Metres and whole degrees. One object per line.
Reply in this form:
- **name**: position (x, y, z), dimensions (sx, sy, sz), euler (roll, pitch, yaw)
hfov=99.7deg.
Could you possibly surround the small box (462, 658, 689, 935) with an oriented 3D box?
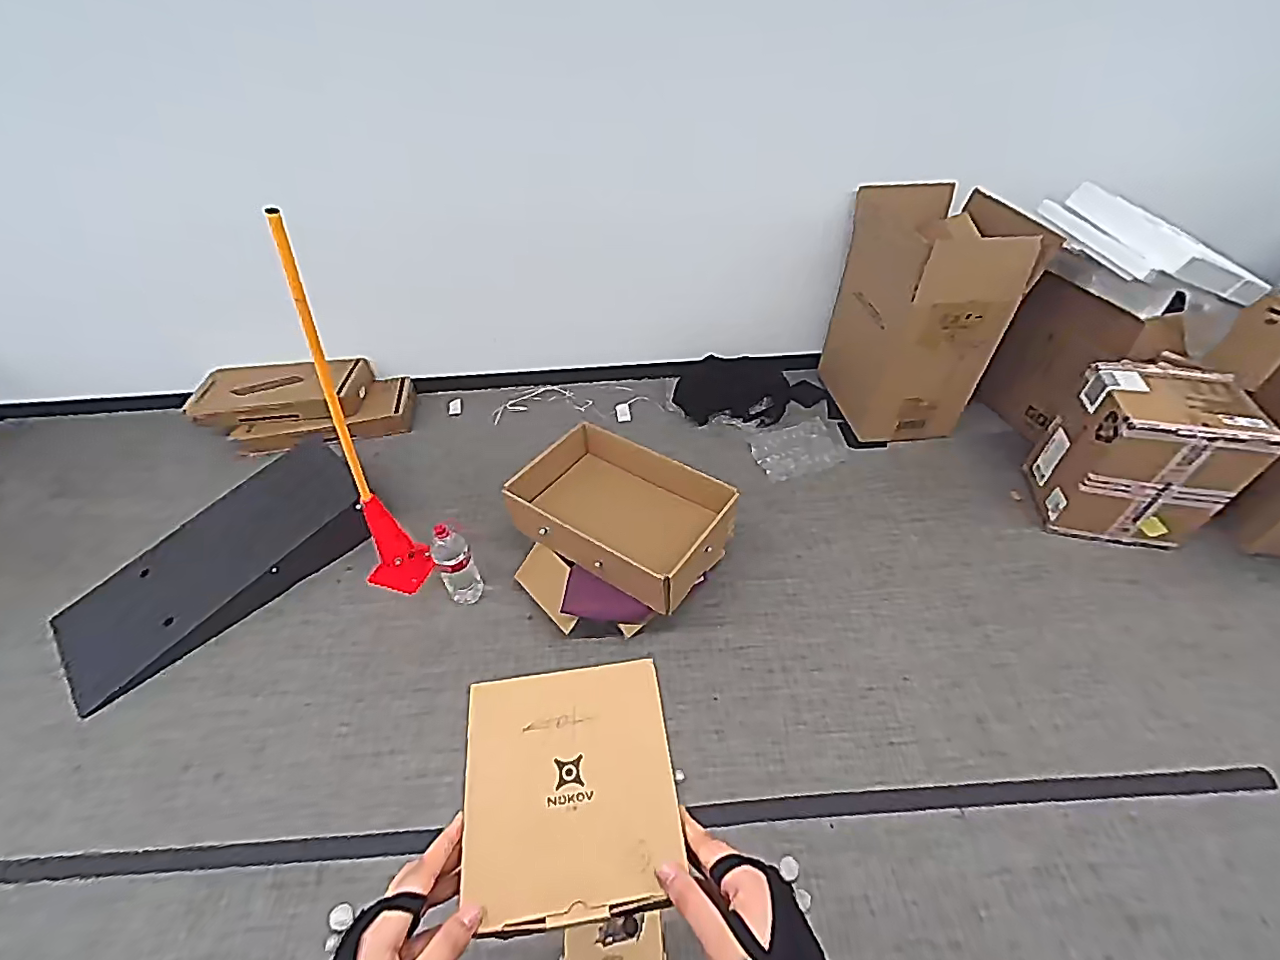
- **small box**: position (-0.057, 0.288, 0.494), dimensions (0.168, 0.176, 0.179), euler (-6, 50, -7)
